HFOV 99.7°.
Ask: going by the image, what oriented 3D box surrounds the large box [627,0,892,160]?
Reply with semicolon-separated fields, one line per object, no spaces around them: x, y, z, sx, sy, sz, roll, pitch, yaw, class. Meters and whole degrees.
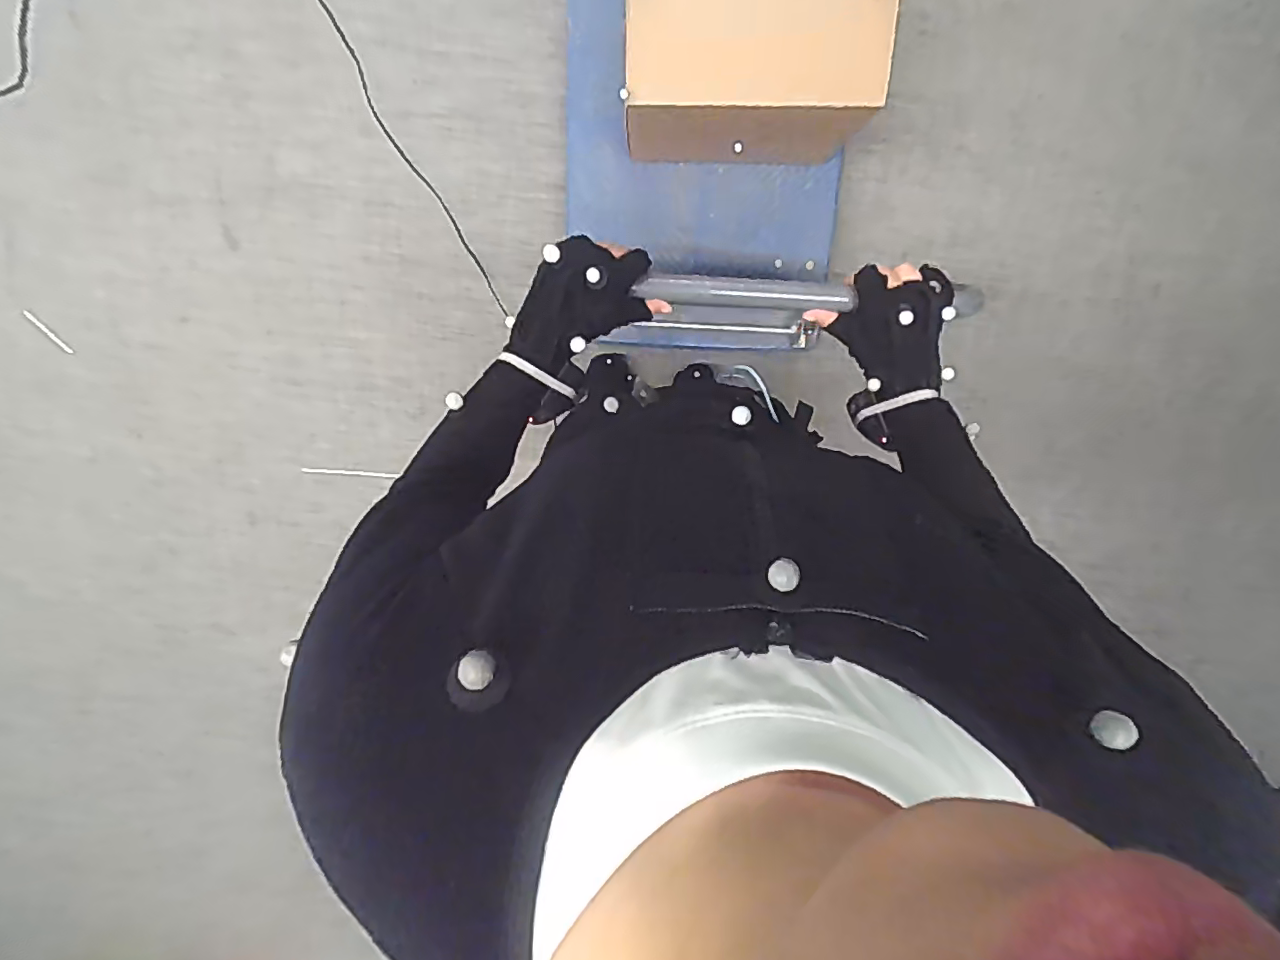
0.183;-0.776;0.948;0.408;0.320;0.320;0;105;1;large box
